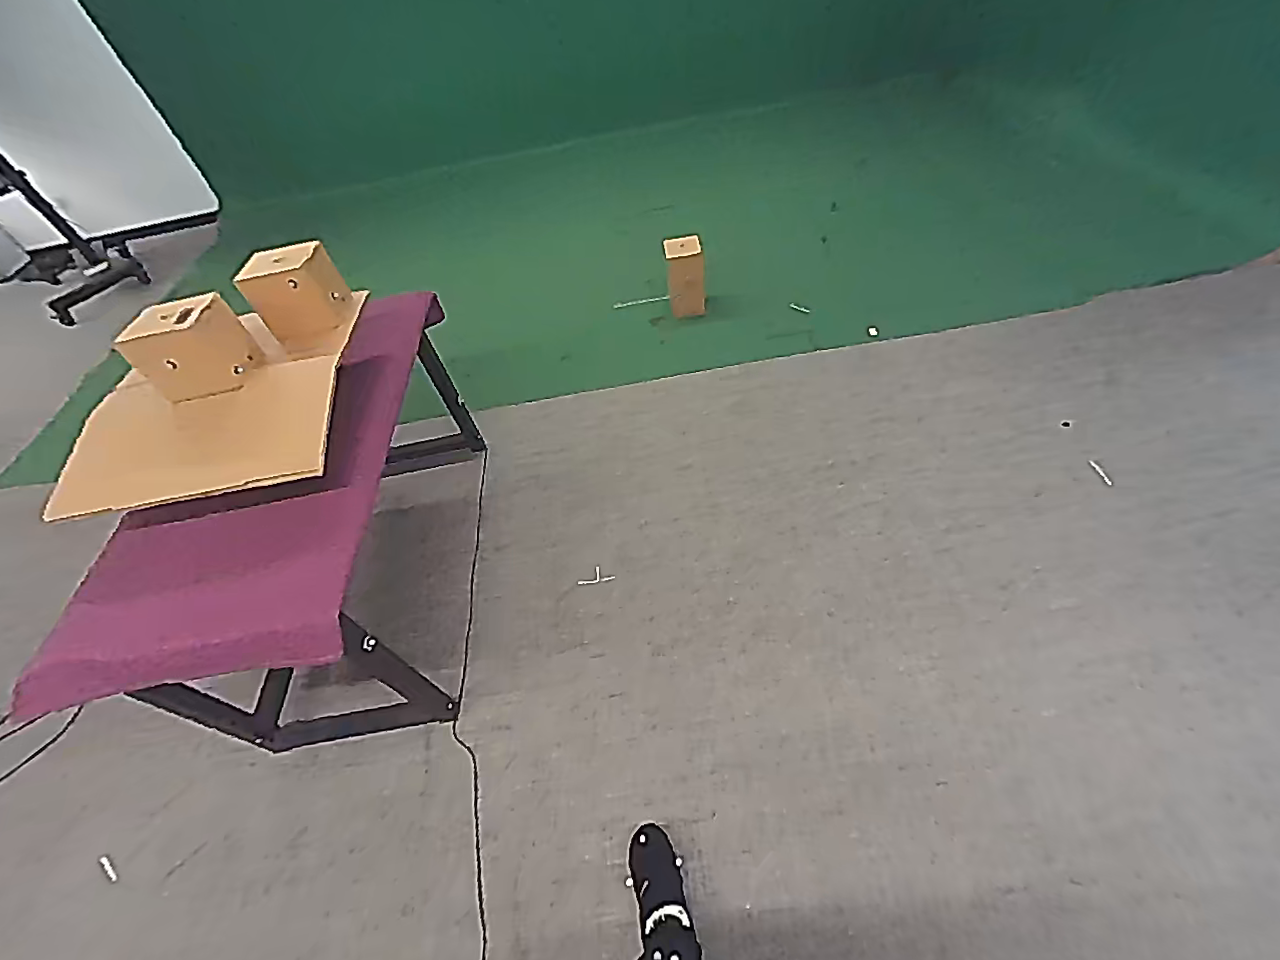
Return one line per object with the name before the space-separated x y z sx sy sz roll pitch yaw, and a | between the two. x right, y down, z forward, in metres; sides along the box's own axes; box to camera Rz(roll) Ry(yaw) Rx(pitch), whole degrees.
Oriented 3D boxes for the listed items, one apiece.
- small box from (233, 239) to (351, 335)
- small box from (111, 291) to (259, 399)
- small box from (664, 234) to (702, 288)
small box | -0.900 -0.501 1.416 0.179 0.176 0.168 -11 47 0
small box | -1.053 -0.315 1.273 0.179 0.176 0.168 -12 47 1
small box | 0.208 -1.056 2.610 0.168 0.176 0.179 -8 50 5
